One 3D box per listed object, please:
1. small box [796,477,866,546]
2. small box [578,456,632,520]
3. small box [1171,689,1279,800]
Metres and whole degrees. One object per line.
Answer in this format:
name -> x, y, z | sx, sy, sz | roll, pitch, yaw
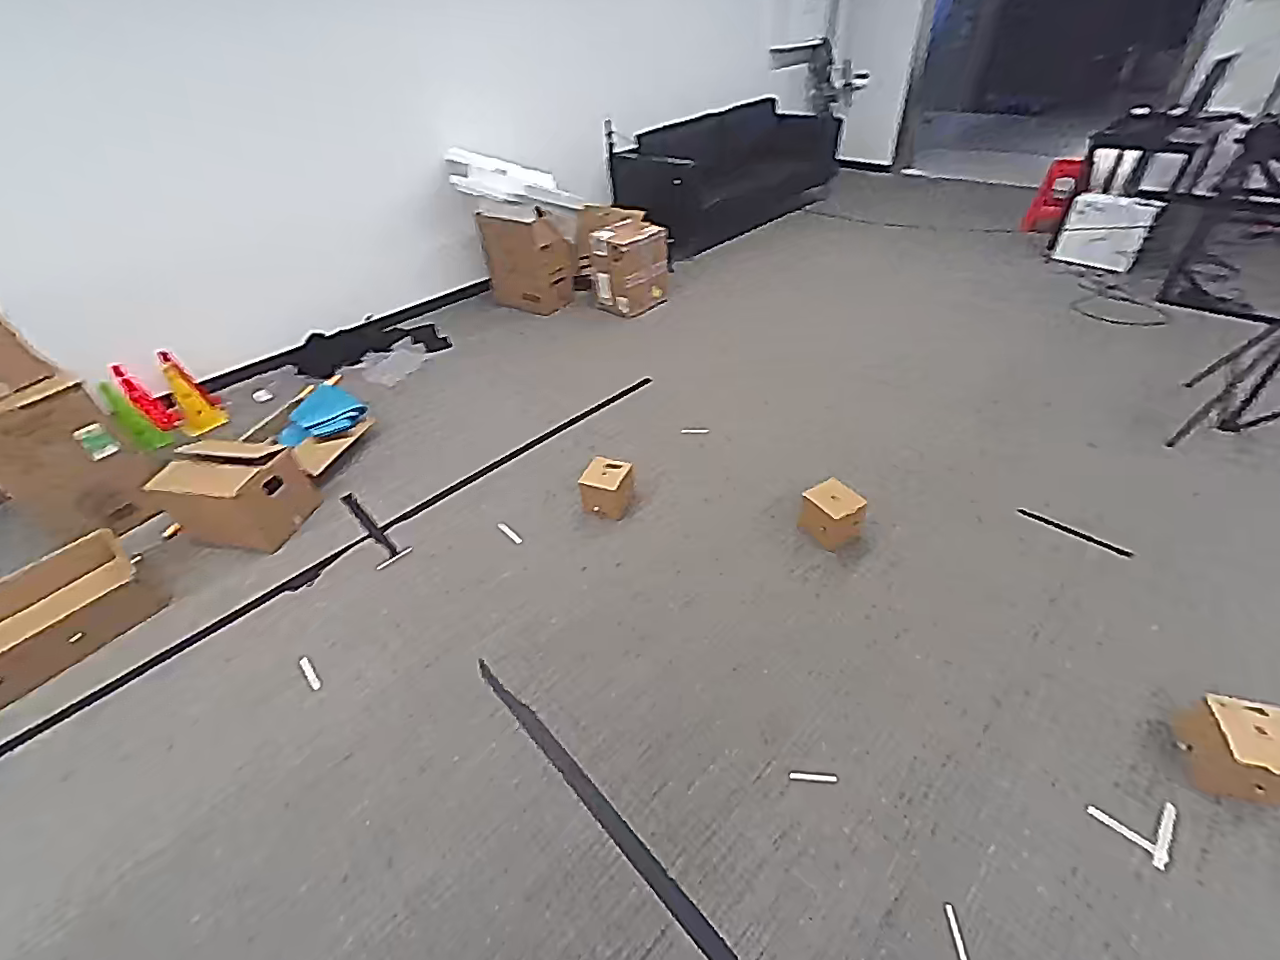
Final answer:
small box -> 0.711, 0.124, 2.027 | 0.168, 0.176, 0.179 | -23, 43, -23
small box -> -0.137, 0.033, 2.213 | 0.168, 0.176, 0.179 | 12, 44, 20
small box -> 1.472, 0.650, 1.323 | 0.168, 0.176, 0.179 | 8, 43, 16
